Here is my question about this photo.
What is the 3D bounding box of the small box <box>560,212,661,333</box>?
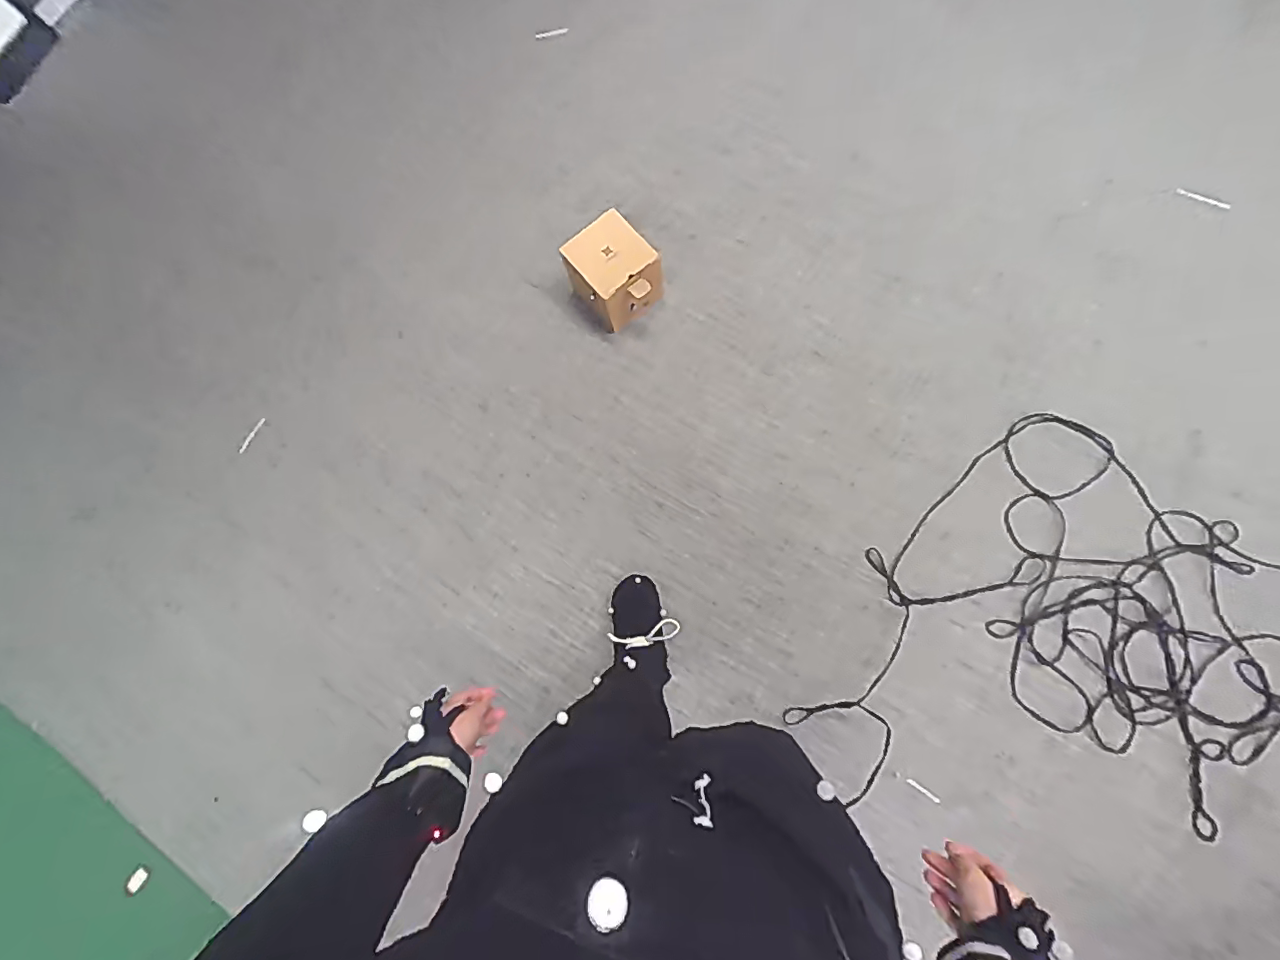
[{"bbox_3d":[-0.065,-0.493,1.310,0.168,0.176,0.179,-40,78,-4],"label":"small box"}]
